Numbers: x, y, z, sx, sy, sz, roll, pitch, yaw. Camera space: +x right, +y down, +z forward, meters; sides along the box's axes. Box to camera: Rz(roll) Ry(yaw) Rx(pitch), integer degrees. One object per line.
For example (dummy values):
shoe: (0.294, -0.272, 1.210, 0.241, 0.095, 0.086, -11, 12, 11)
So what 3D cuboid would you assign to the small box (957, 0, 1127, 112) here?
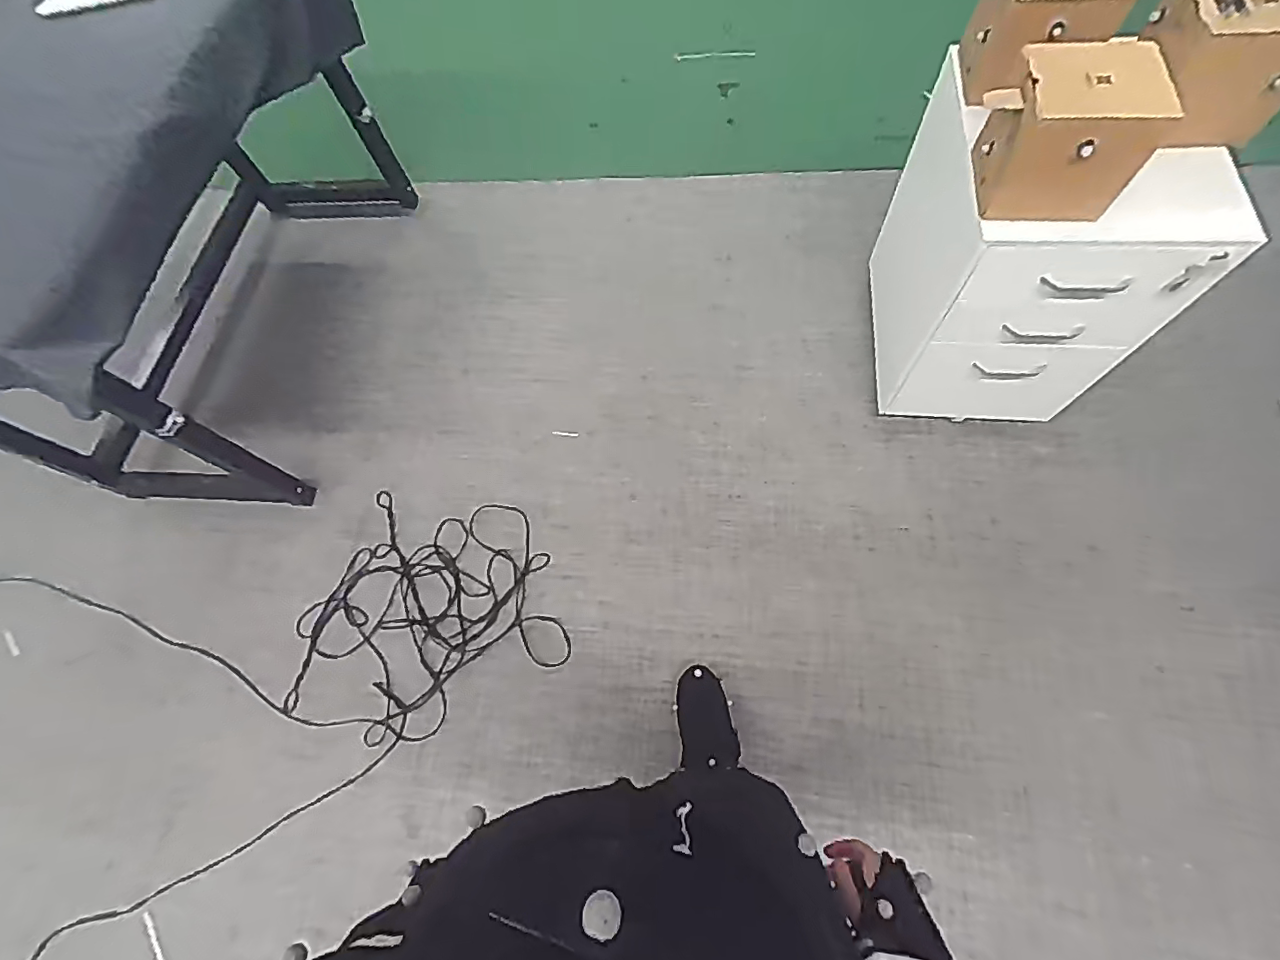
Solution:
small box: (0.669, -0.765, 0.930, 0.179, 0.176, 0.168, 5, 69, 7)

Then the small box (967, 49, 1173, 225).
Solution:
small box: (0.634, -0.513, 0.823, 0.179, 0.176, 0.168, 4, 67, 8)
